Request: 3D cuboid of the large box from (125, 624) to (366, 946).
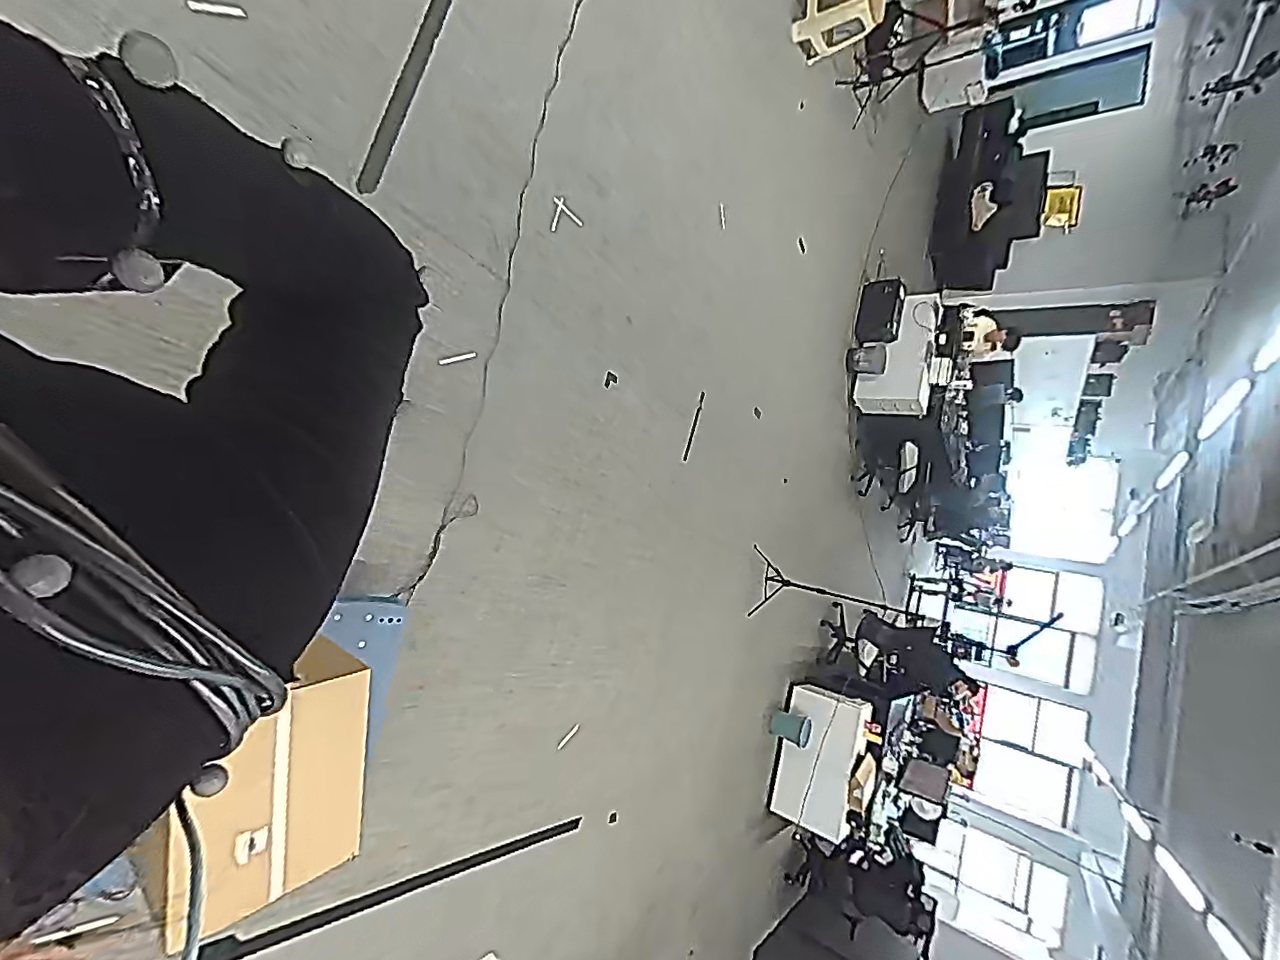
[{"bbox_3d":[-0.783,0.549,1.075,0.320,0.320,0.408,1,97,-52],"label":"large box"}]
